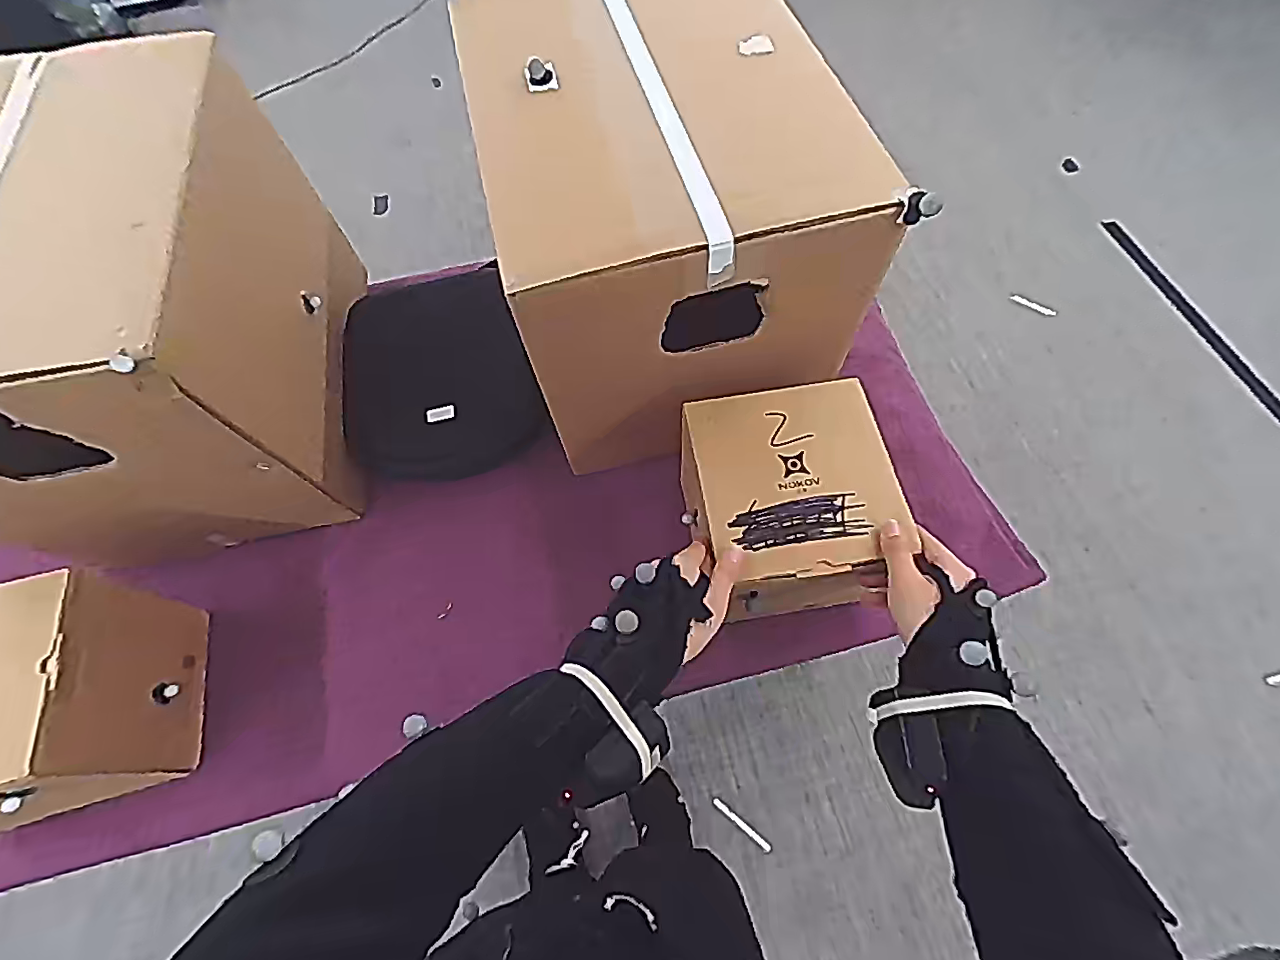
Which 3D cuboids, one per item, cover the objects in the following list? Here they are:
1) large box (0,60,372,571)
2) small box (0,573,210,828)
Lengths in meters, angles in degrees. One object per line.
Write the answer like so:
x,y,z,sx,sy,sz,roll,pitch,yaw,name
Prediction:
-0.522,-0.155,0.592,0.320,0.320,0.408,-13,67,-3,large box
-0.547,0.208,0.493,0.179,0.176,0.168,-15,64,-8,small box
